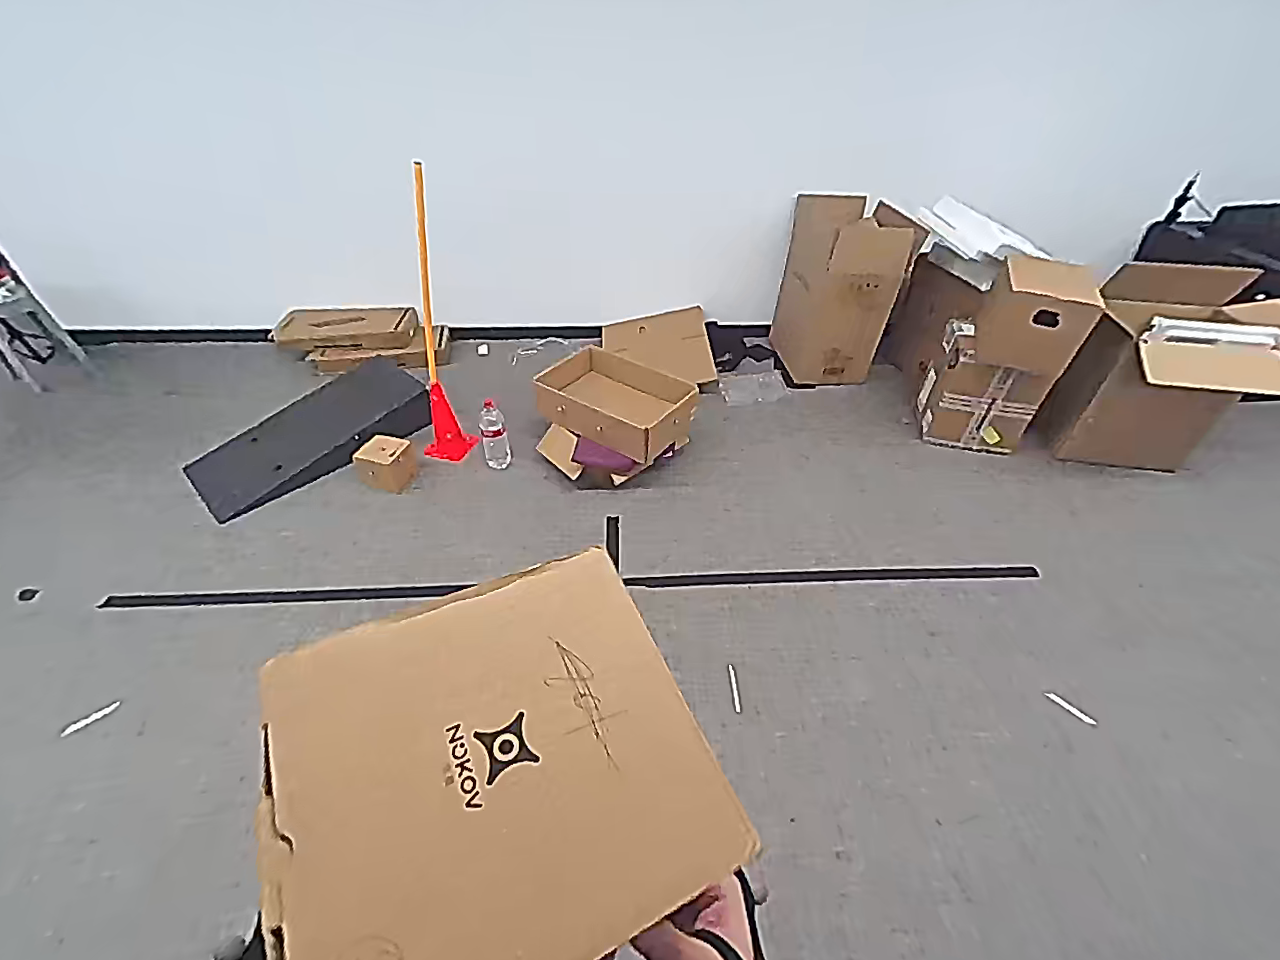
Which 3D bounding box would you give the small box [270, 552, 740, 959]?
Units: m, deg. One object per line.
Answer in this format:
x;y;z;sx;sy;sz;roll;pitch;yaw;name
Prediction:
-0.075;0.176;0.309;0.179;0.176;0.168;-18;54;-24;small box
